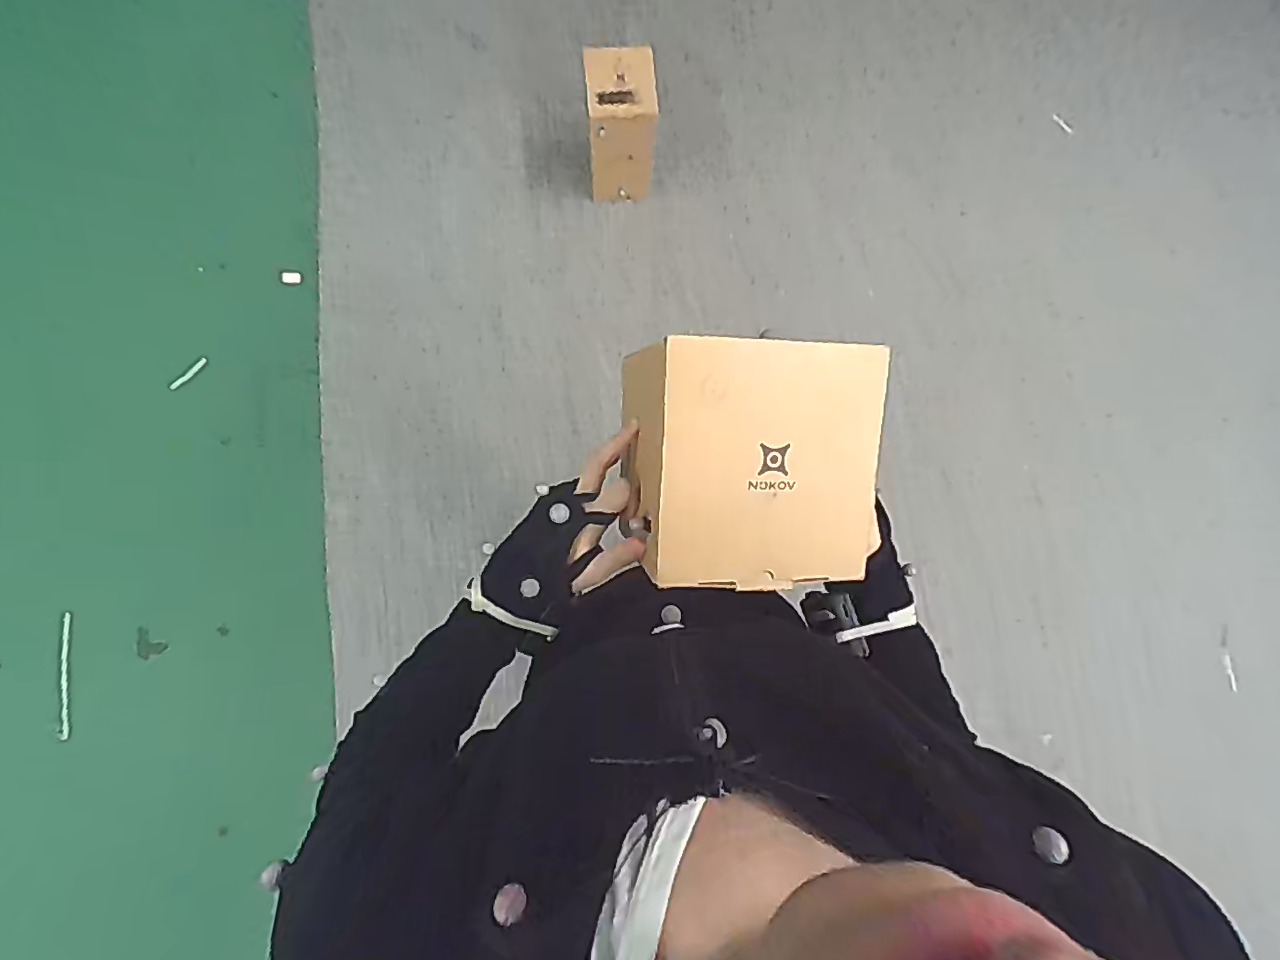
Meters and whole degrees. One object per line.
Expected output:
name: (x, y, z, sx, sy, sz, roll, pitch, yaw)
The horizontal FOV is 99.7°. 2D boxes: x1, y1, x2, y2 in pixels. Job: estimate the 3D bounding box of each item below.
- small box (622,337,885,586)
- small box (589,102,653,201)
small box: (0.079, -0.024, 0.466, 0.168, 0.176, 0.179, -1, 101, -12)
small box: (-0.056, -0.915, 1.513, 0.168, 0.176, 0.179, -4, 86, -3)
